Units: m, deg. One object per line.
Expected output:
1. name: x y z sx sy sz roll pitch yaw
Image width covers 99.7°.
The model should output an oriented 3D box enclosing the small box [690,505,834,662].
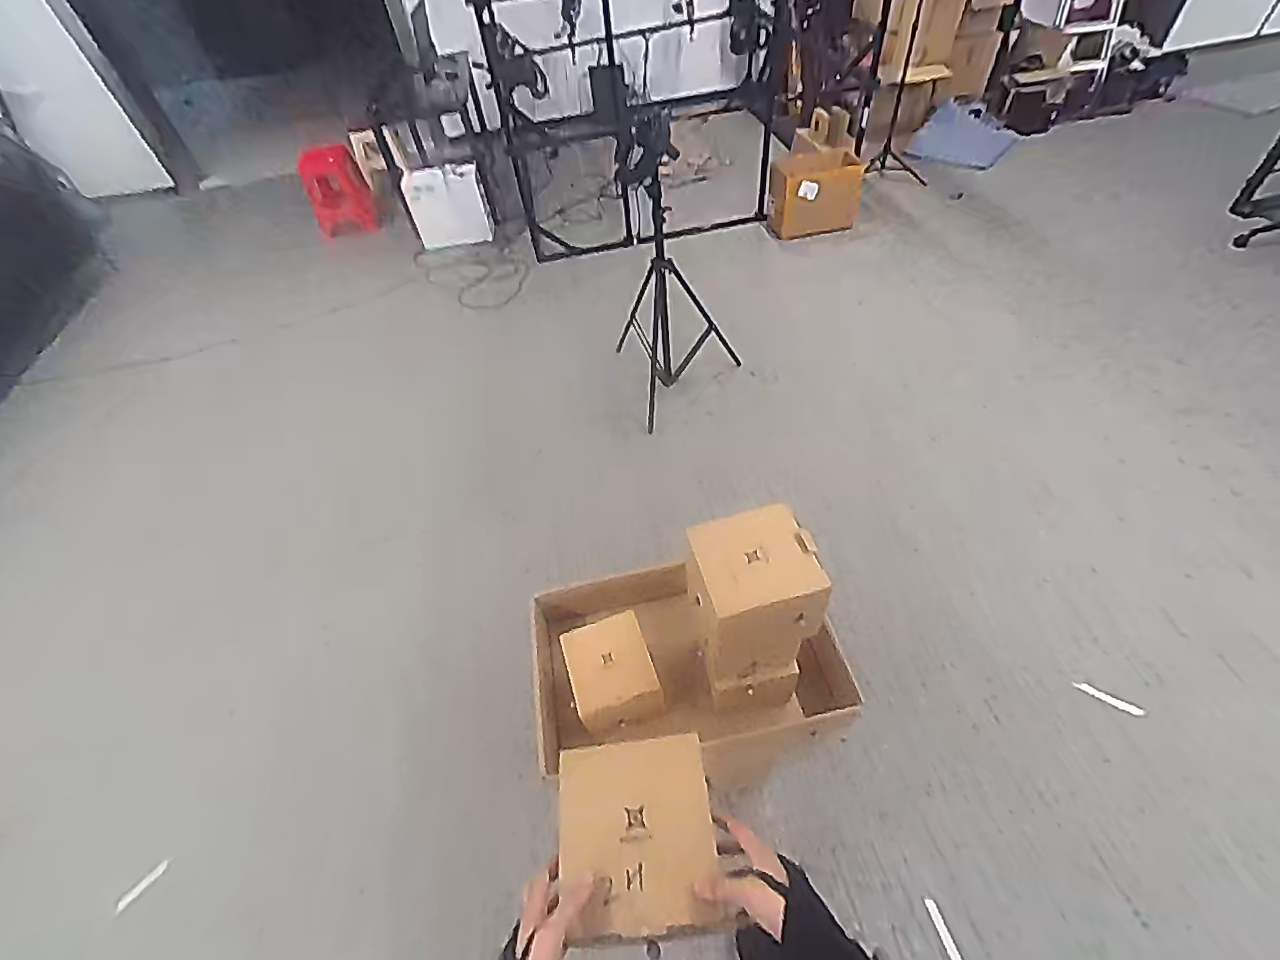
1. small box: 0.185 0.170 0.877 0.179 0.176 0.168 -14 49 -5

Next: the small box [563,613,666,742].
1. small box: -0.051 0.415 1.134 0.168 0.176 0.179 -18 50 -8

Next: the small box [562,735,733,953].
1. small box: 0.008 0.422 0.626 0.168 0.176 0.179 -7 47 1
